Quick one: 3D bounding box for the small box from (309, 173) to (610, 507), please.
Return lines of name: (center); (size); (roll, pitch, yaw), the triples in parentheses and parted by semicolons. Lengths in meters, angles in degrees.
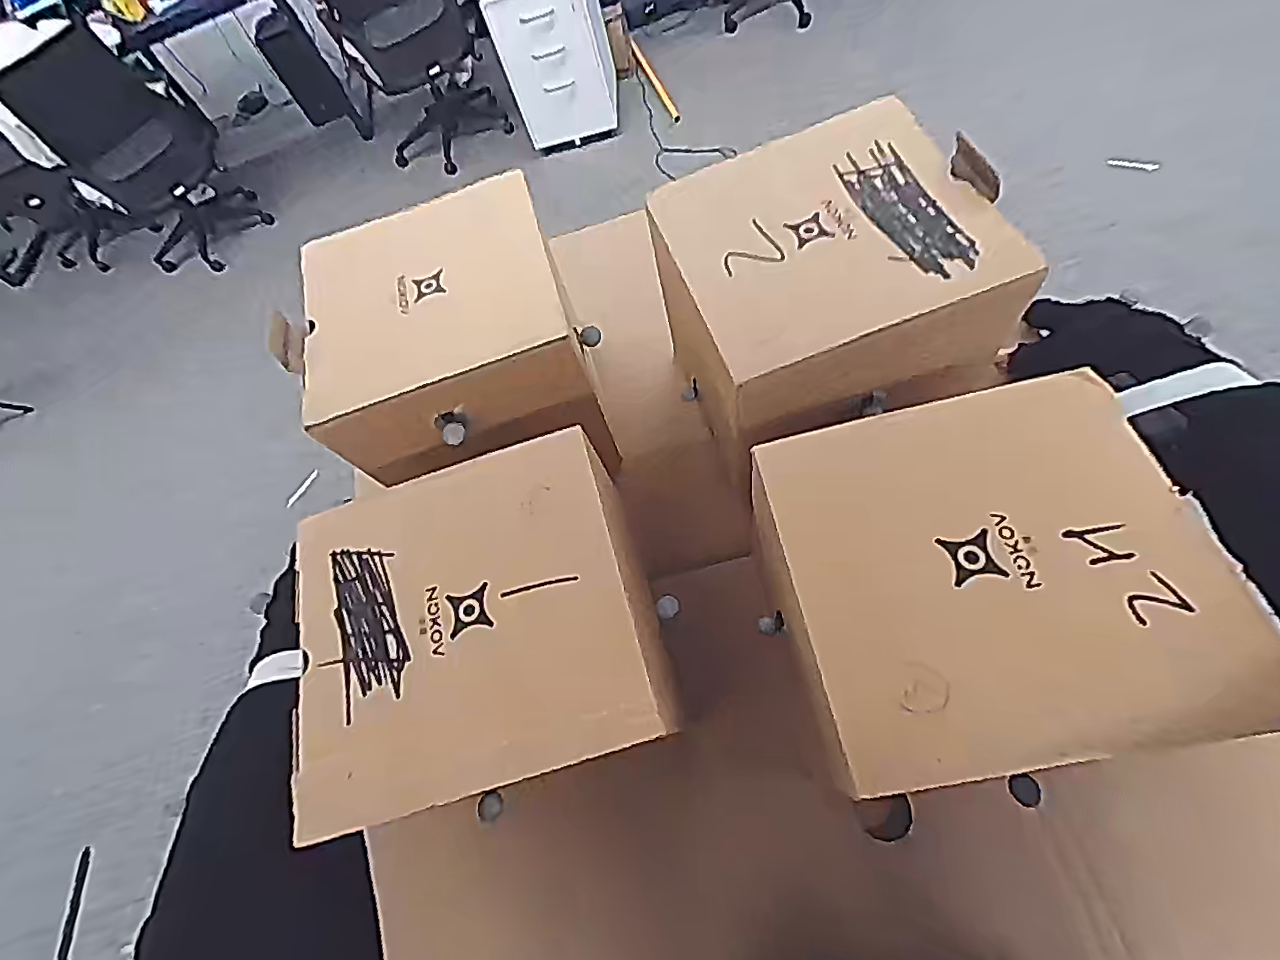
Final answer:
small box: (-0.132, -0.100, 0.442); (0.179, 0.176, 0.168); (-19, 63, 3)
